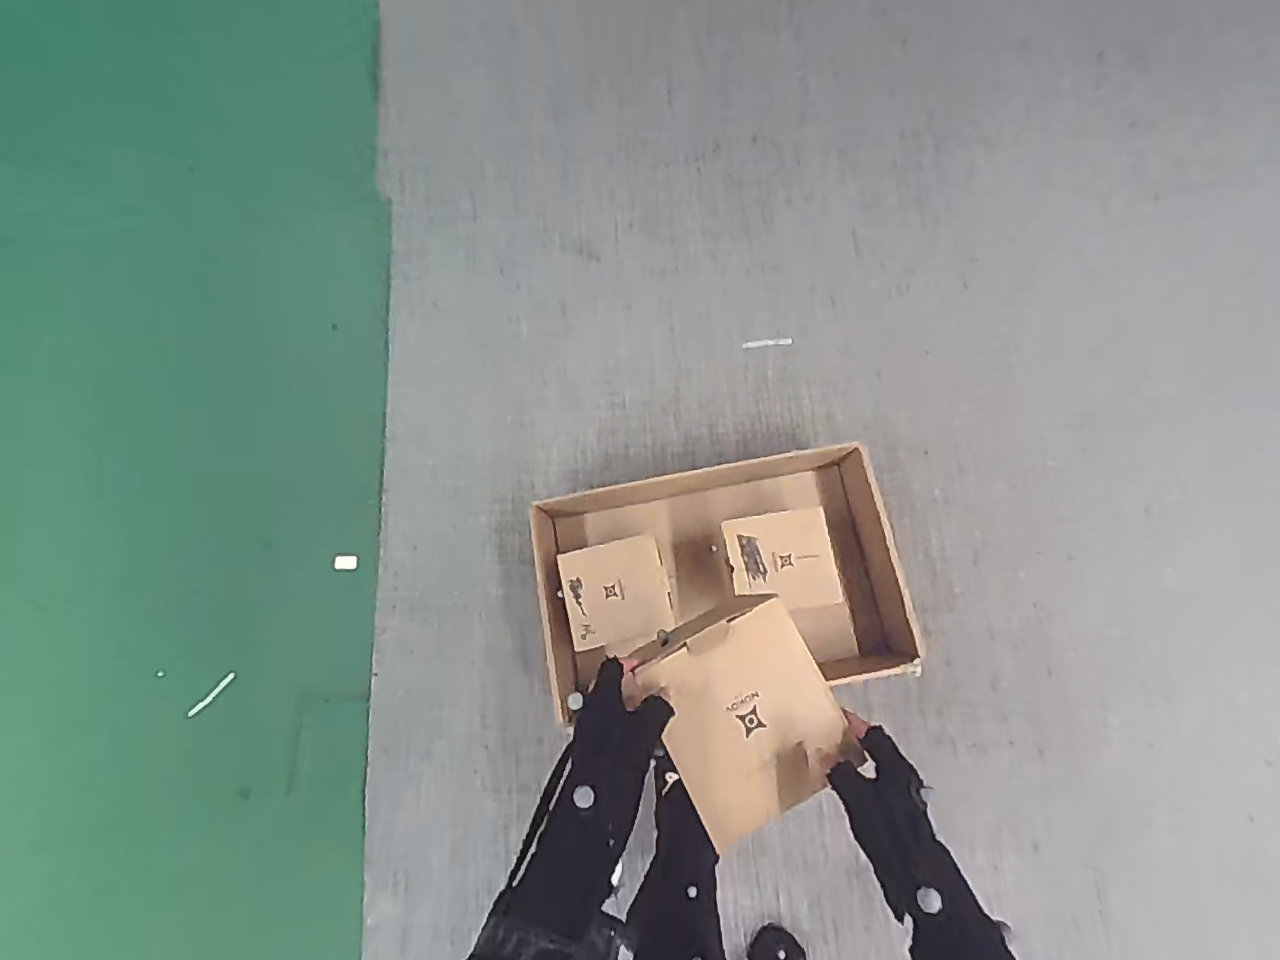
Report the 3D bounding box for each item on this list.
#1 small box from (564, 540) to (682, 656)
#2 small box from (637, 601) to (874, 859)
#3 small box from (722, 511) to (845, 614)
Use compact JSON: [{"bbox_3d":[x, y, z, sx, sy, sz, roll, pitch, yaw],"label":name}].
[{"bbox_3d":[-0.028,0.215,0.990,0.179,0.176,0.168,-13,76,-1],"label":"small box"},{"bbox_3d":[0.105,0.246,0.584,0.168,0.176,0.179,-27,81,-7],"label":"small box"},{"bbox_3d":[0.247,0.161,0.982,0.179,0.176,0.168,-9,77,3],"label":"small box"}]
